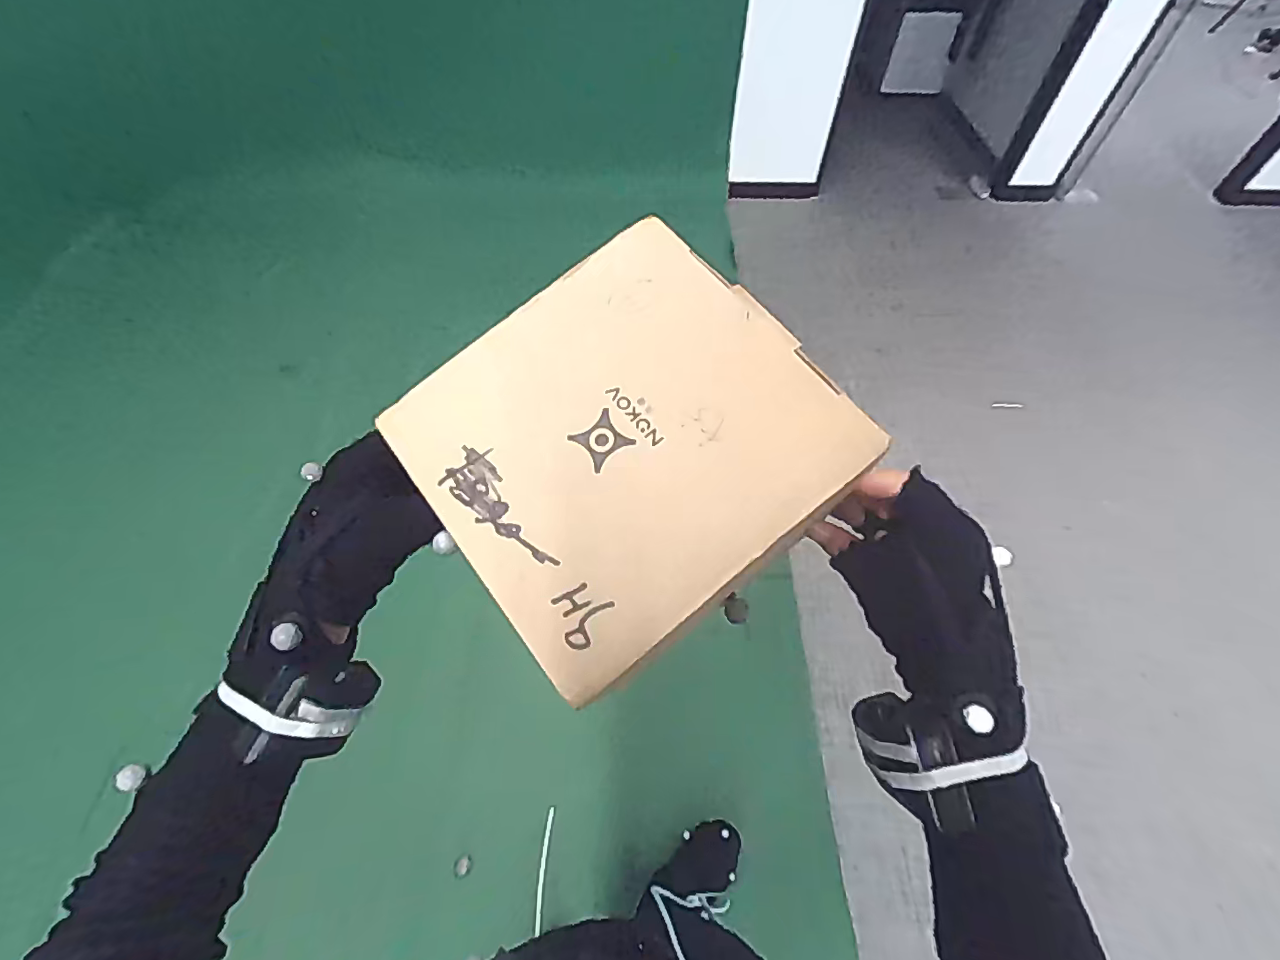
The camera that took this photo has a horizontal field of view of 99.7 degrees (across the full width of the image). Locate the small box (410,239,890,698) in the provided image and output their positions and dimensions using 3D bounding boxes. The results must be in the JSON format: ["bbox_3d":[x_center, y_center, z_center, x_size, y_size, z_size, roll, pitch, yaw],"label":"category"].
[{"bbox_3d":[0.006,0.004,0.333,0.179,0.176,0.168,-38,73,-6],"label":"small box"}]
